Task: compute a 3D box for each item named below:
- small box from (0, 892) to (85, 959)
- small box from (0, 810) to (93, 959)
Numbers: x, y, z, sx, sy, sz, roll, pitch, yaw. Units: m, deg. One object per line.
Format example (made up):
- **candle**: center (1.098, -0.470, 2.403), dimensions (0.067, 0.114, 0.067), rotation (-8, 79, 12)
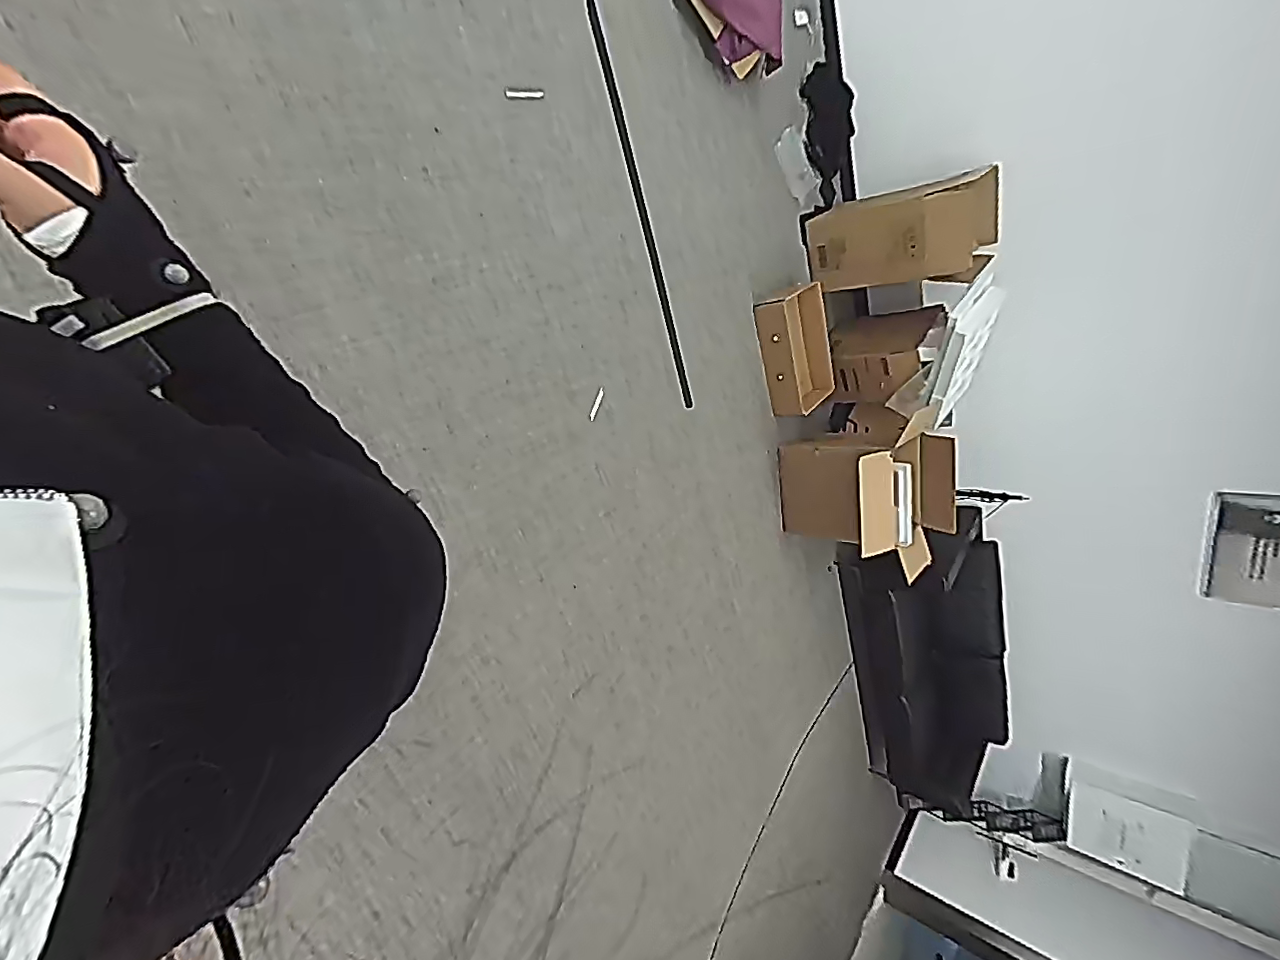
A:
- **small box**: center (-0.692, 0.568, 0.533), dimensions (0.168, 0.176, 0.179), rotation (-33, 116, -37)
- **small box**: center (-0.810, 0.550, 0.644), dimensions (0.179, 0.176, 0.168), rotation (-35, 117, -37)
